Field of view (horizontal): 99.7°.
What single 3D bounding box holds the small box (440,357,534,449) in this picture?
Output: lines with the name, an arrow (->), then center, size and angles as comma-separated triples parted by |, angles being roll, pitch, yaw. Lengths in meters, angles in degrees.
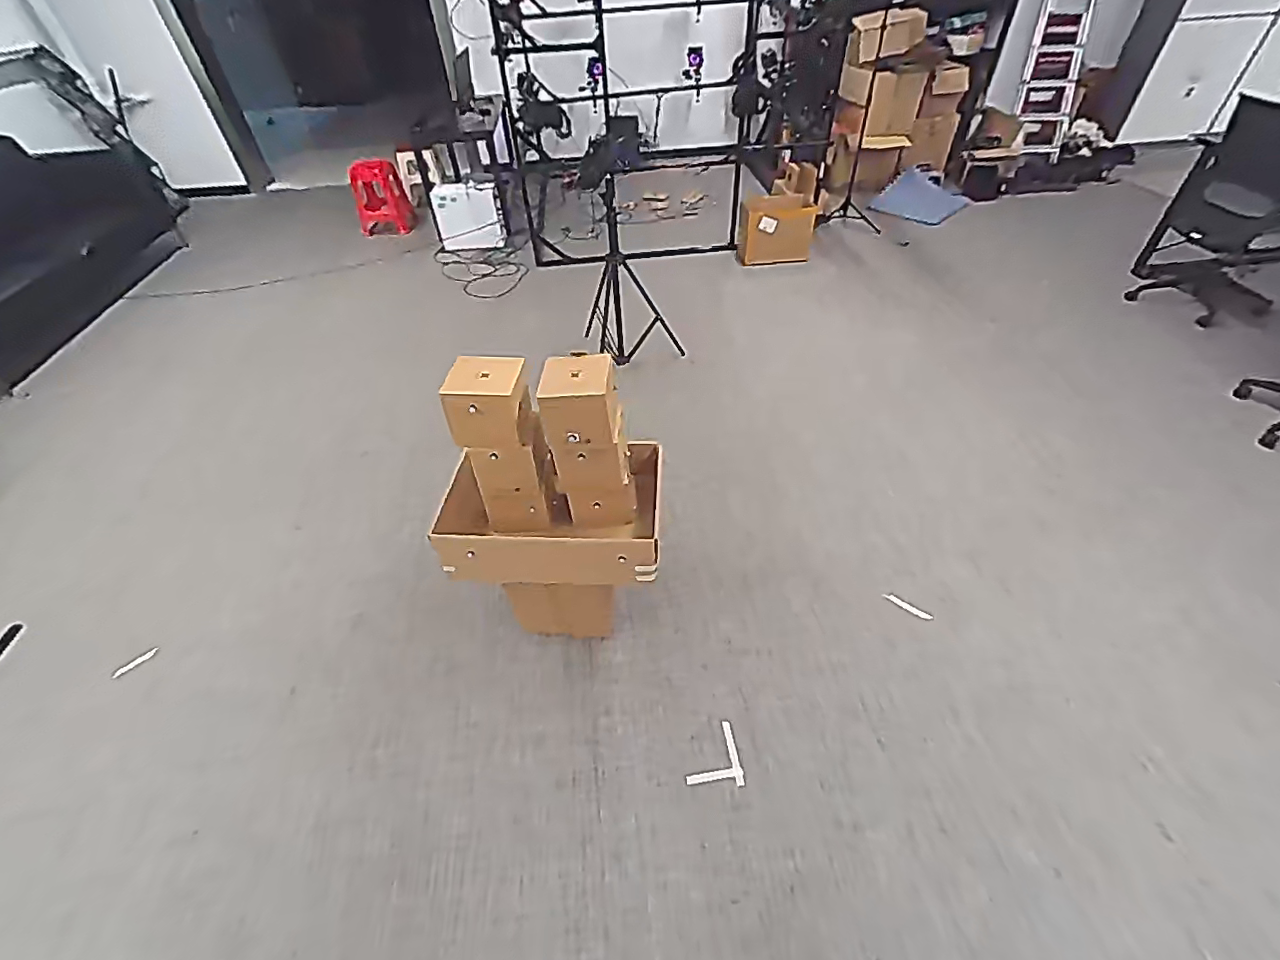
small box -> -0.375, -0.192, 1.369 | 0.179, 0.176, 0.168 | 2, 44, 3

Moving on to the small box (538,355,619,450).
small box -> -0.146, -0.193, 1.352 | 0.168, 0.176, 0.179 | -3, 44, 5
